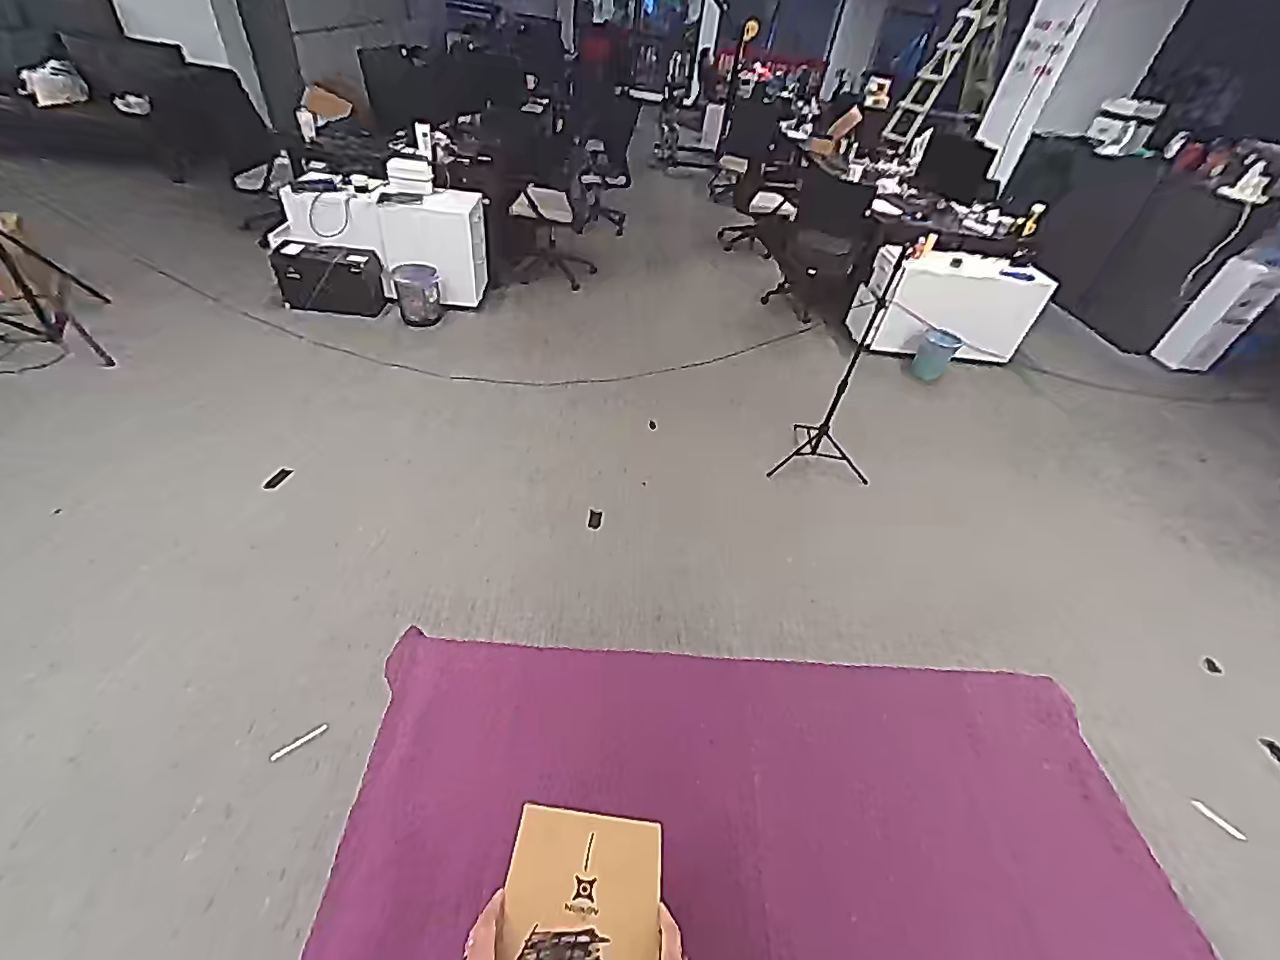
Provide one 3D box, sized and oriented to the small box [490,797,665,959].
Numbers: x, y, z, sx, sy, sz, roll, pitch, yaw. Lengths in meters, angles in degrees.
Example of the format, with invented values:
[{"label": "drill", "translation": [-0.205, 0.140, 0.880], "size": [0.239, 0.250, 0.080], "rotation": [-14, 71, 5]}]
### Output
[{"label": "small box", "translation": [-0.069, 0.502, 0.625], "size": [0.168, 0.176, 0.179], "rotation": [10, 41, -1]}]
